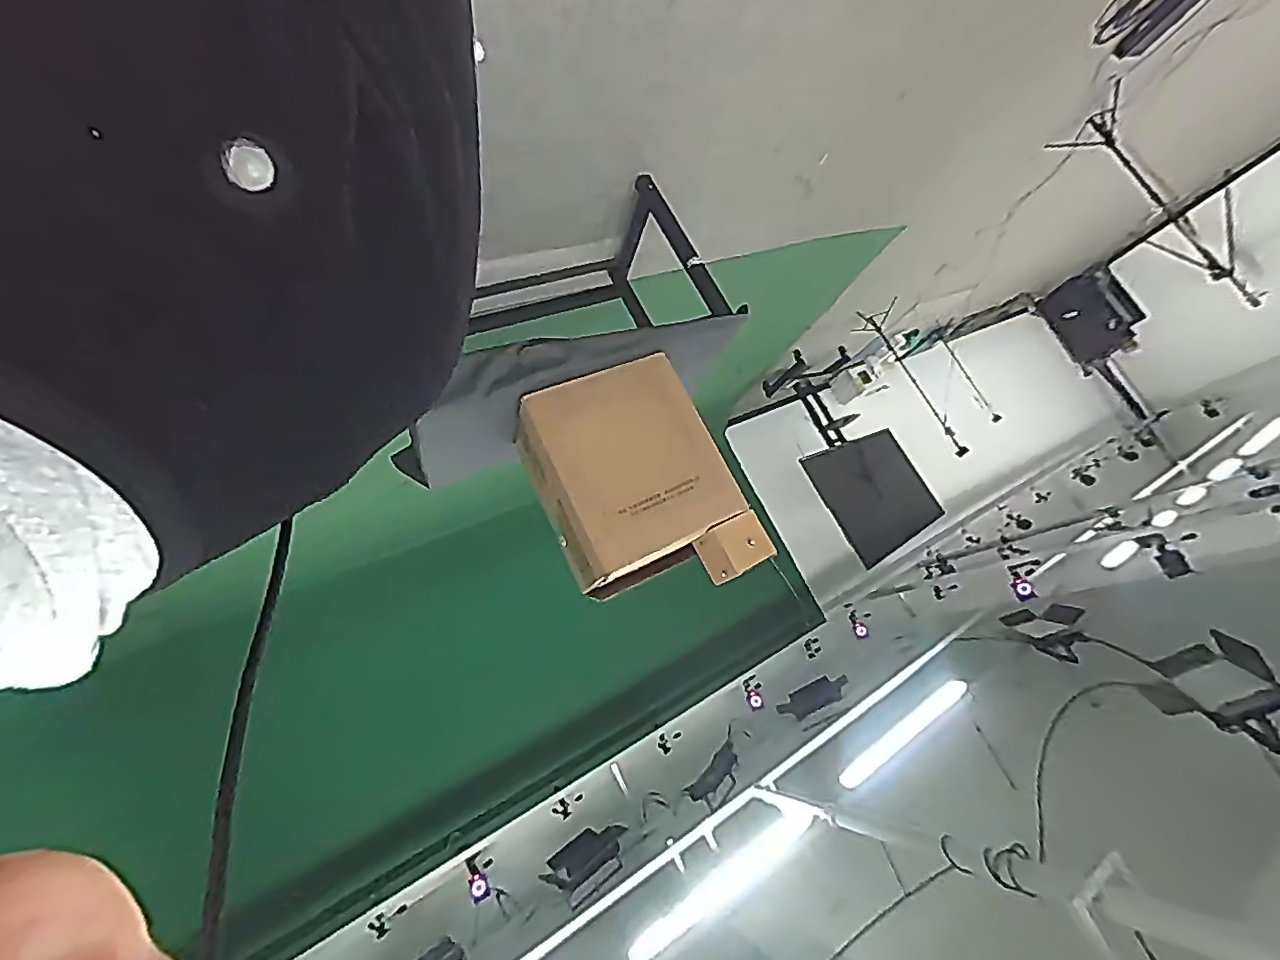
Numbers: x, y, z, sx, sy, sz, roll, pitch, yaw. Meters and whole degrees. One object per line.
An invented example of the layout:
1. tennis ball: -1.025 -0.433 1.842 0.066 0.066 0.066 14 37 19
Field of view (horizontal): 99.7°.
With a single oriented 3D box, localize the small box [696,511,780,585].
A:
1. small box: 0.320 0.223 1.796 0.179 0.176 0.168 -24 167 -27
